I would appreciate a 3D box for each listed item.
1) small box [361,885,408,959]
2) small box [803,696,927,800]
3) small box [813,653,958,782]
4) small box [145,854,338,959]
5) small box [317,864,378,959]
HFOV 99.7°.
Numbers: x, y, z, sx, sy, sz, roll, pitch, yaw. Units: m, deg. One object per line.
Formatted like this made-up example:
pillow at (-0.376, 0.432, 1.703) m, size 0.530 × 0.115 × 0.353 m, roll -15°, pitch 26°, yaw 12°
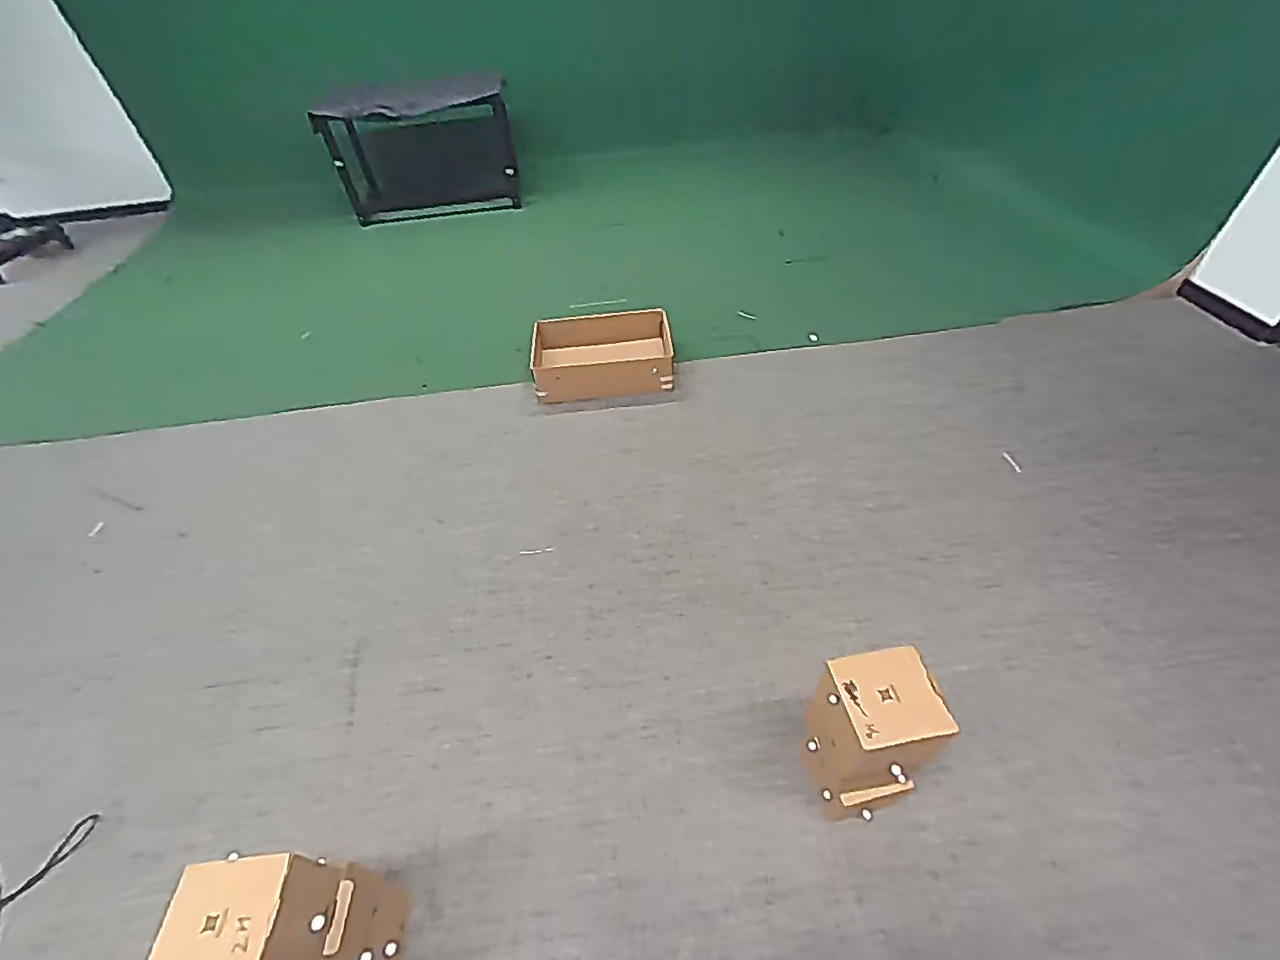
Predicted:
small box at (-0.599, 0.942, 1.099) m, size 0.179 × 0.176 × 0.168 m, roll -6°, pitch 46°, yaw 0°
small box at (0.469, 0.563, 1.157) m, size 0.179 × 0.176 × 0.168 m, roll -9°, pitch 45°, yaw -3°
small box at (0.454, 0.456, 1.033) m, size 0.179 × 0.176 × 0.168 m, roll -8°, pitch 45°, yaw -4°
small box at (-0.627, 0.717, 0.861) m, size 0.179 × 0.176 × 0.168 m, roll -6°, pitch 47°, yaw 0°
small box at (-0.611, 0.821, 0.989) m, size 0.179 × 0.176 × 0.168 m, roll -7°, pitch 46°, yaw 1°
